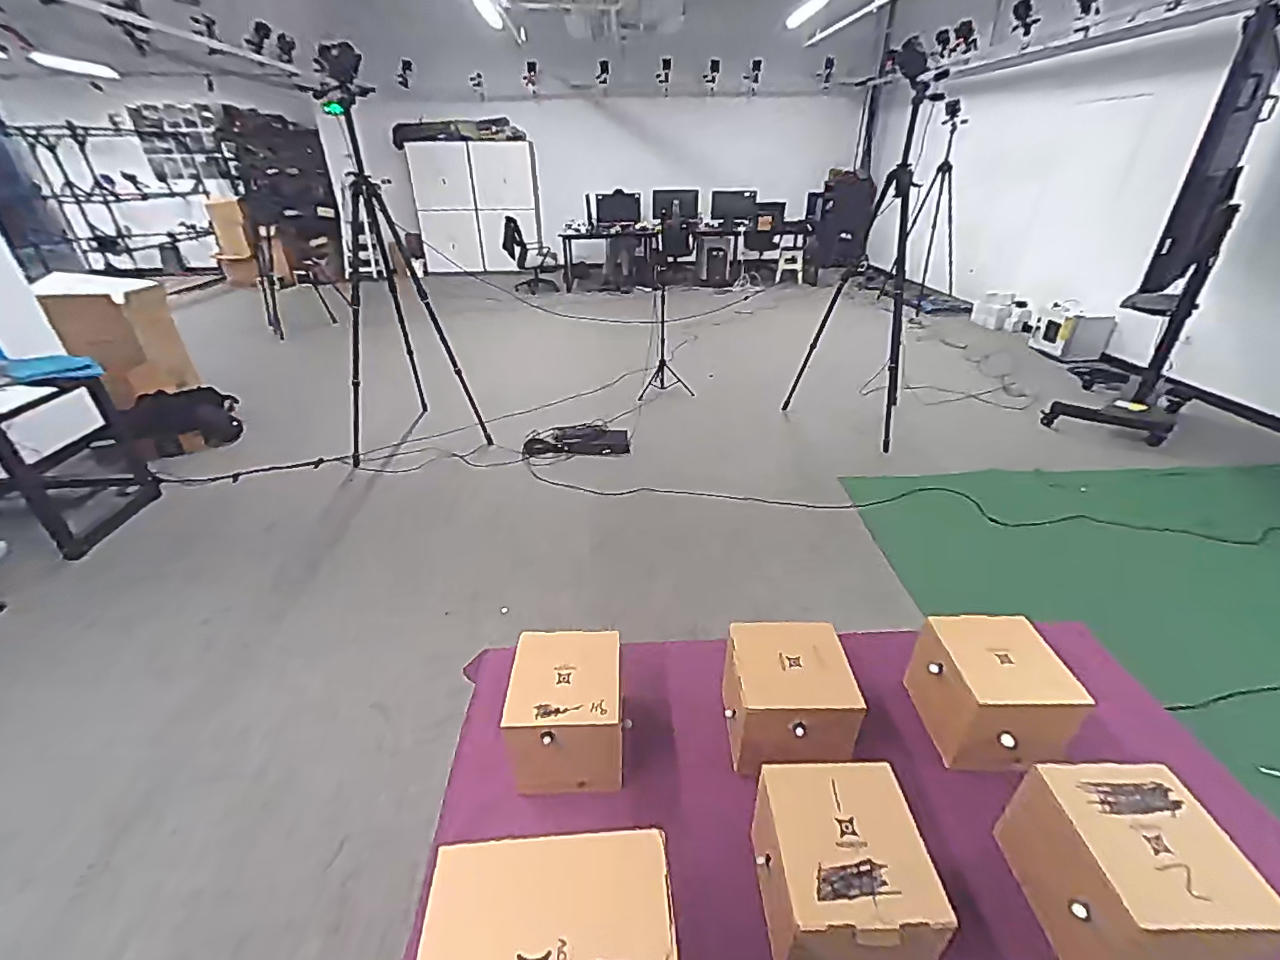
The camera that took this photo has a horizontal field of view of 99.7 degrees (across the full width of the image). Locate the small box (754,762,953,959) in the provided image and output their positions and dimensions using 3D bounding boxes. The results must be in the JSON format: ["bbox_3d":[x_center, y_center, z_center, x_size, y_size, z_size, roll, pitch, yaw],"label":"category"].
[{"bbox_3d":[0.239,0.476,0.656,0.168,0.176,0.179,-1,29,0],"label":"small box"}]

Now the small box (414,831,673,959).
[{"bbox_3d":[-0.064,0.389,0.398,0.179,0.176,0.168,-2,35,-3],"label":"small box"}]

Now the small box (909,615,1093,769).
[{"bbox_3d":[0.564,0.343,0.875,0.168,0.176,0.179,-1,30,2],"label":"small box"}]

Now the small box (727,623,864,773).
[{"bbox_3d":[0.236,0.352,0.873,0.179,0.176,0.168,0,31,1],"label":"small box"}]

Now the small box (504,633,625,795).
[{"bbox_3d":[-0.110,0.367,0.860,0.168,0.176,0.179,-1,30,0],"label":"small box"}]
